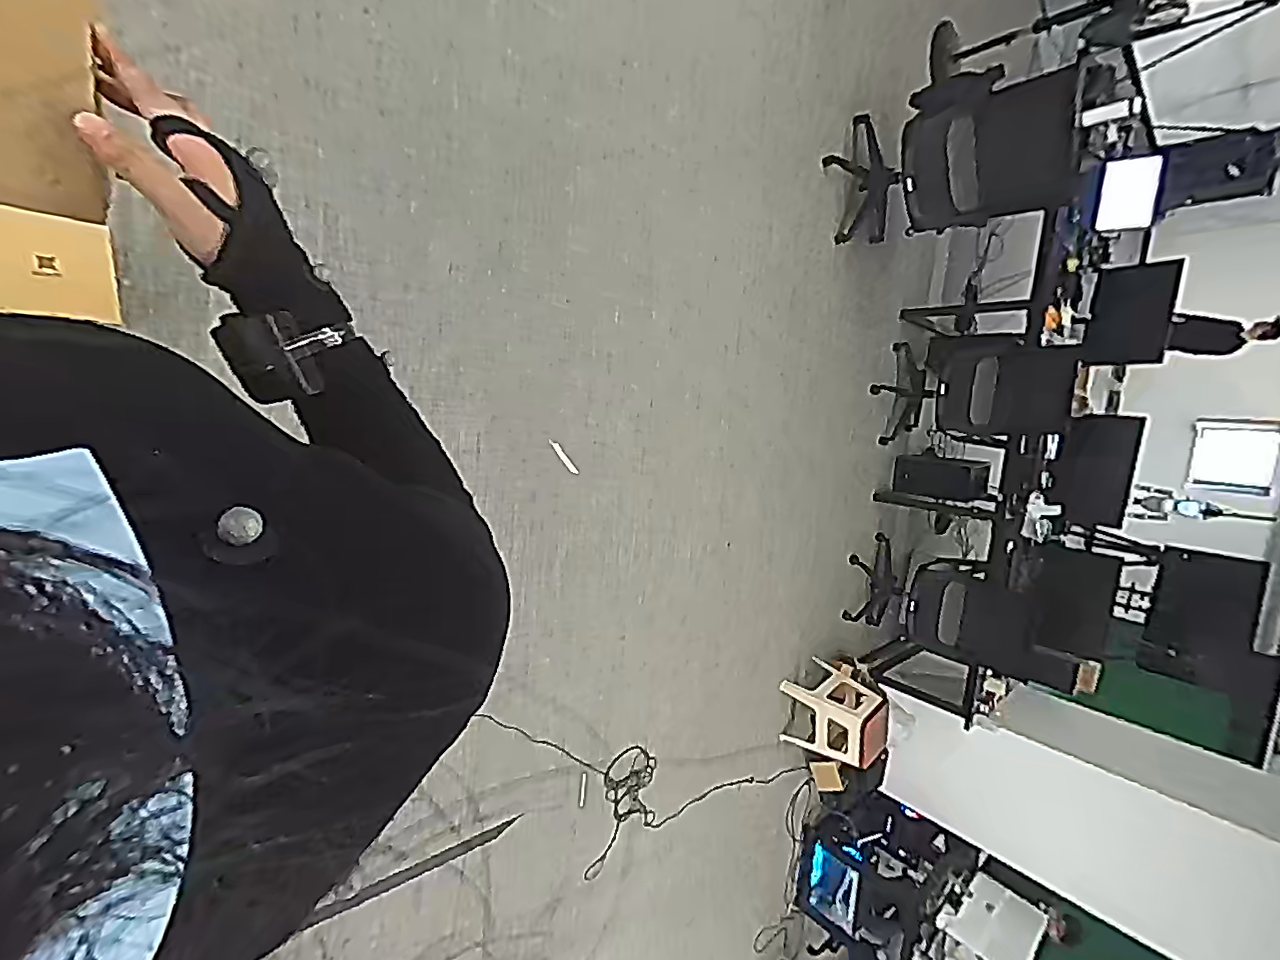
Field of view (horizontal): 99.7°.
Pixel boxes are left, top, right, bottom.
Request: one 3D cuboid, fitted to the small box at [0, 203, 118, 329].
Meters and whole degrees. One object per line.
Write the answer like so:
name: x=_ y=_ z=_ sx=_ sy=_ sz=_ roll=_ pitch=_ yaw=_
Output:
small box: x=-1.041 y=-0.366 z=0.948 sx=0.168 sy=0.176 sz=0.179 roll=-8 pitch=104 yaw=-42
